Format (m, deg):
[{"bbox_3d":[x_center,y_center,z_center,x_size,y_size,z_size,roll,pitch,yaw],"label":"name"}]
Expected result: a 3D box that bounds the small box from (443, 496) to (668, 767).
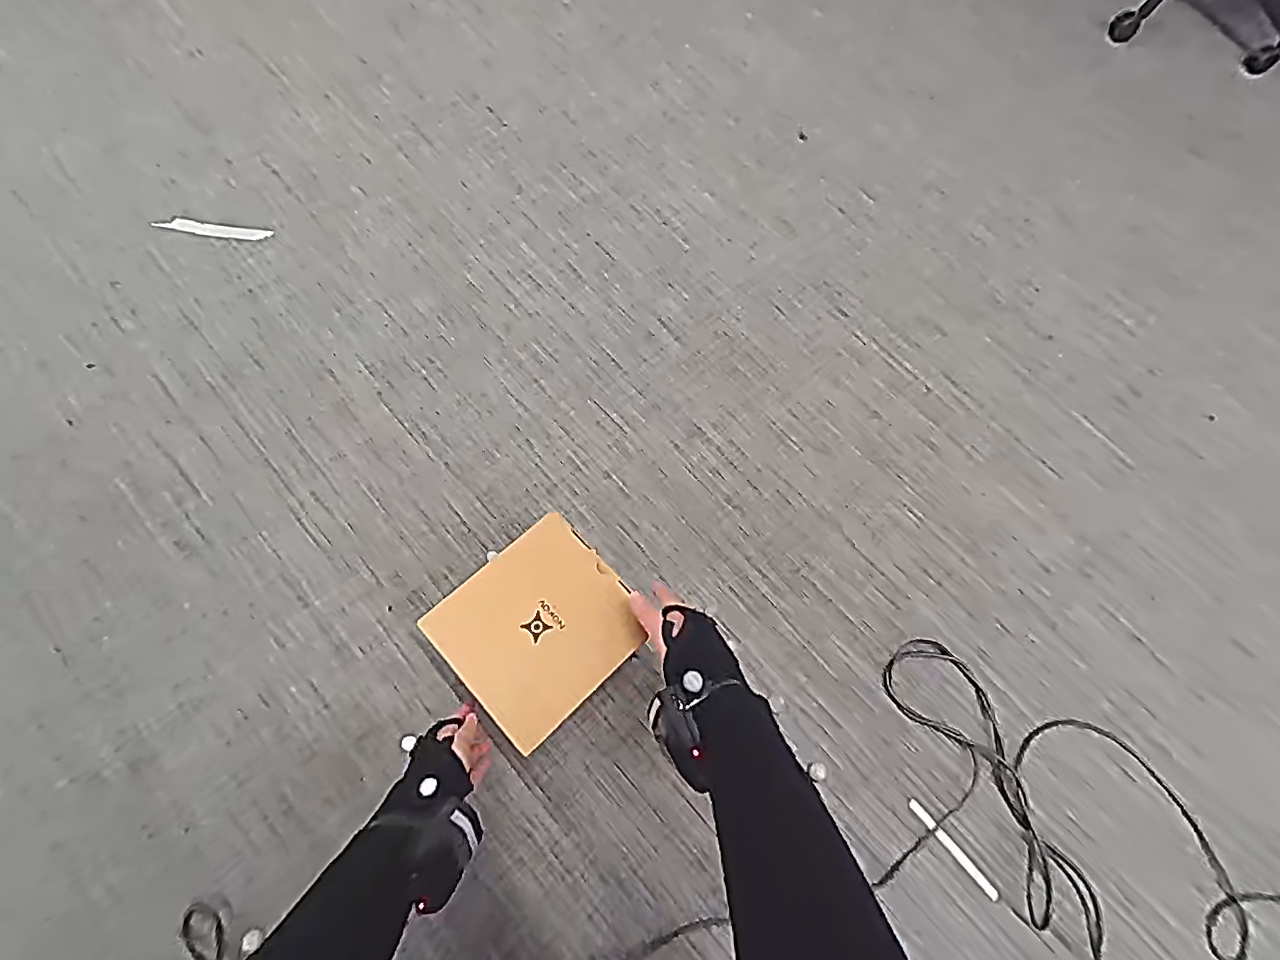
[{"bbox_3d":[-0.085,0.150,0.568,0.179,0.176,0.168,33,48,25],"label":"small box"}]
